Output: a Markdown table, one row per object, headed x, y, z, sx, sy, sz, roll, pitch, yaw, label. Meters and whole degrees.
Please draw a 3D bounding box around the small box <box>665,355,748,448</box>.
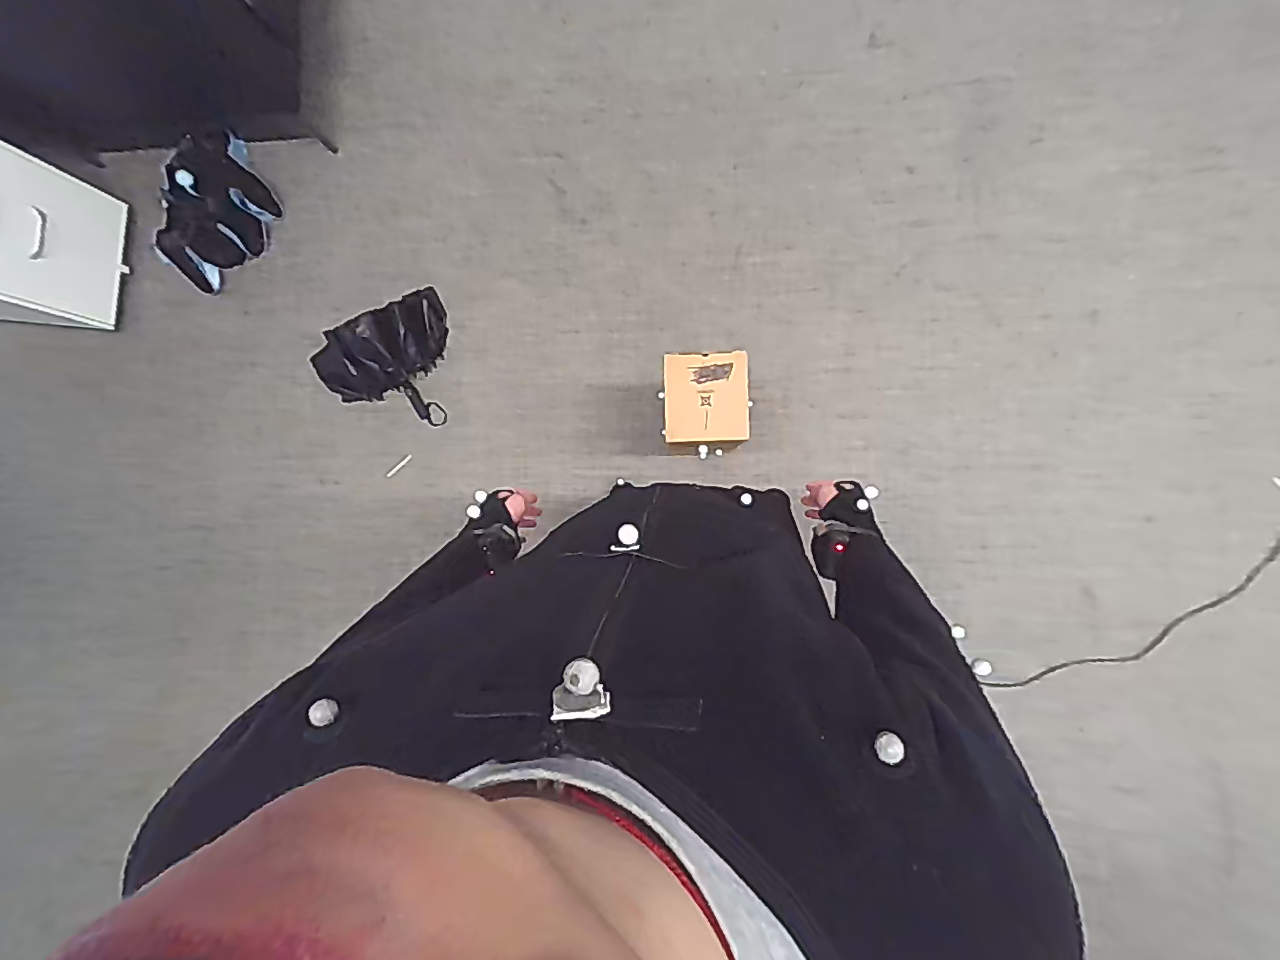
| x | y | z | sx | sy | sz | roll | pitch | yaw | label |
| --- | --- | --- | --- | --- | --- | --- | --- | --- | --- |
| 0.136 | -0.159 | 1.139 | 0.168 | 0.176 | 0.179 | -1 | 92 | 6 | small box |
